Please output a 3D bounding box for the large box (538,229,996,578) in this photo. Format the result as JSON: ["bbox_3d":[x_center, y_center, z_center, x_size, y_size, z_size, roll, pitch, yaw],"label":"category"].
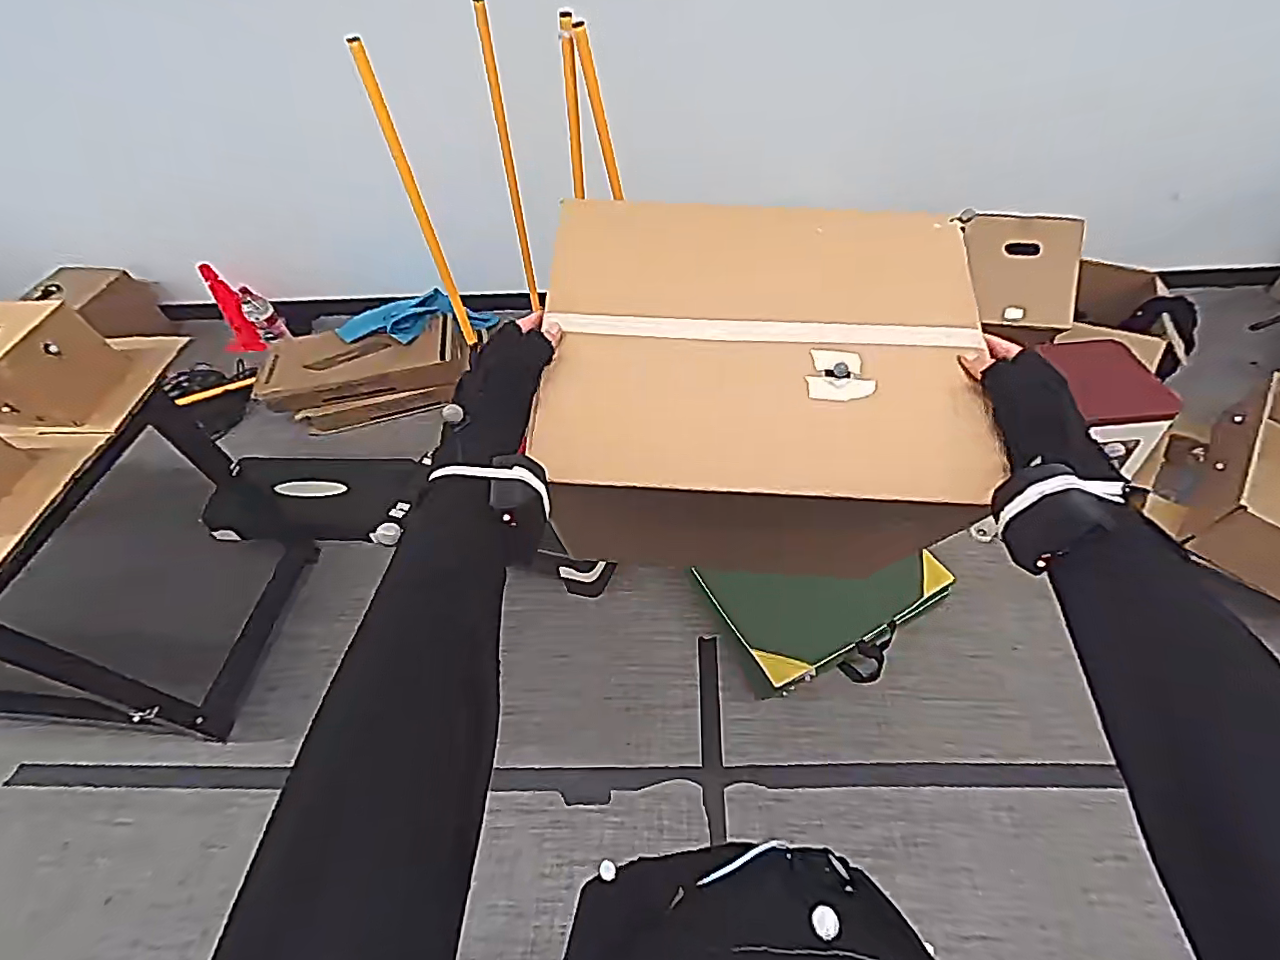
[{"bbox_3d":[0.113,-0.067,0.657,0.408,0.320,0.320,3,69,1],"label":"large box"}]
